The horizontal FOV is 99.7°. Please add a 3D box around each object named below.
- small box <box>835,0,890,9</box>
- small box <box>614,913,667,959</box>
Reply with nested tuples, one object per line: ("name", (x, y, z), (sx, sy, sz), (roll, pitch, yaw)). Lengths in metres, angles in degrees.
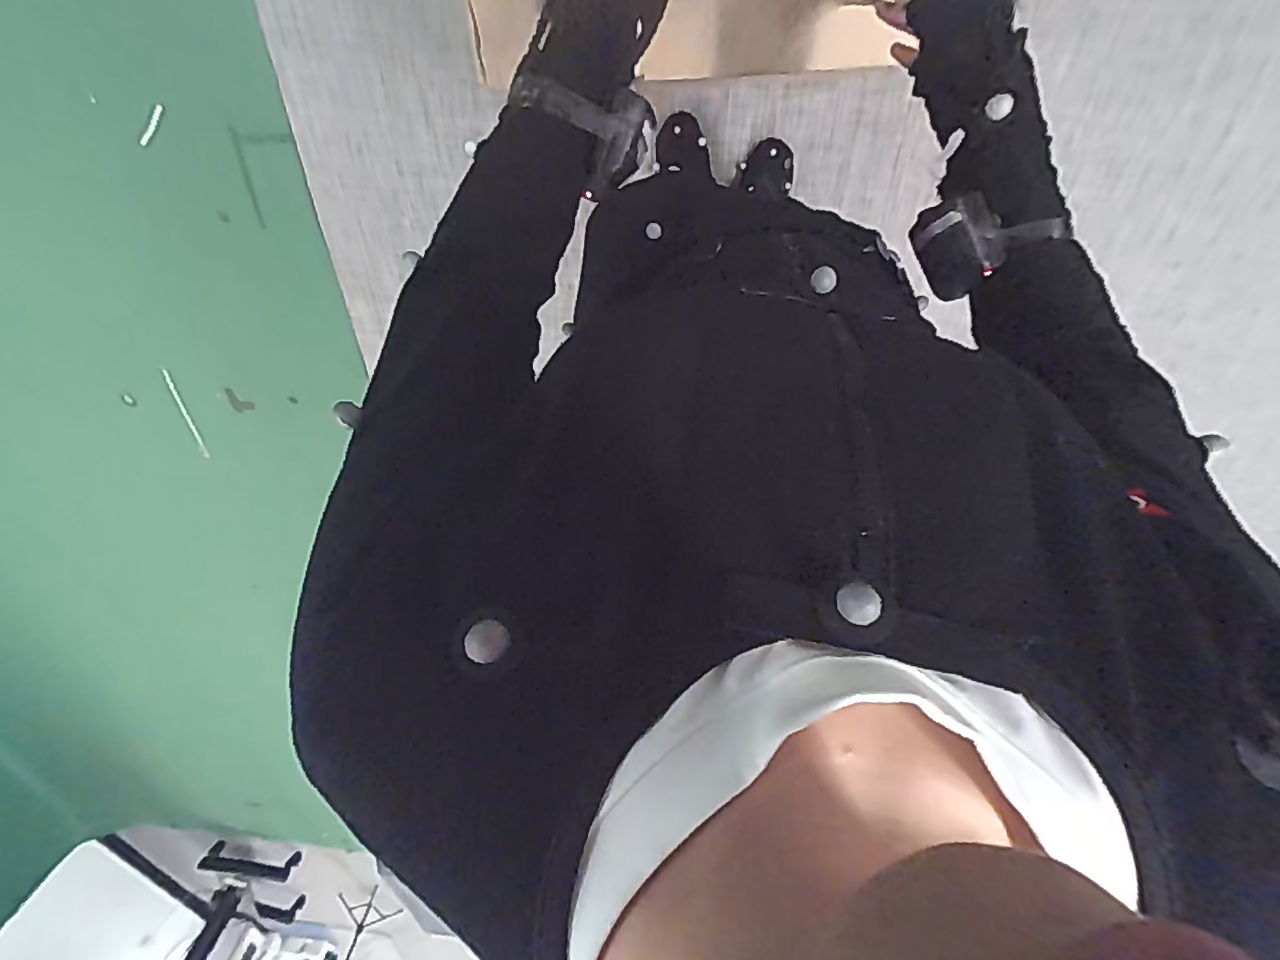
("small box", (0.148, -0.508, 0.424), (0.168, 0.176, 0.179), (14, 132, -5))
("small box", (0.002, 1.596, 1.824), (0.168, 0.176, 0.179), (1, 126, 6))
